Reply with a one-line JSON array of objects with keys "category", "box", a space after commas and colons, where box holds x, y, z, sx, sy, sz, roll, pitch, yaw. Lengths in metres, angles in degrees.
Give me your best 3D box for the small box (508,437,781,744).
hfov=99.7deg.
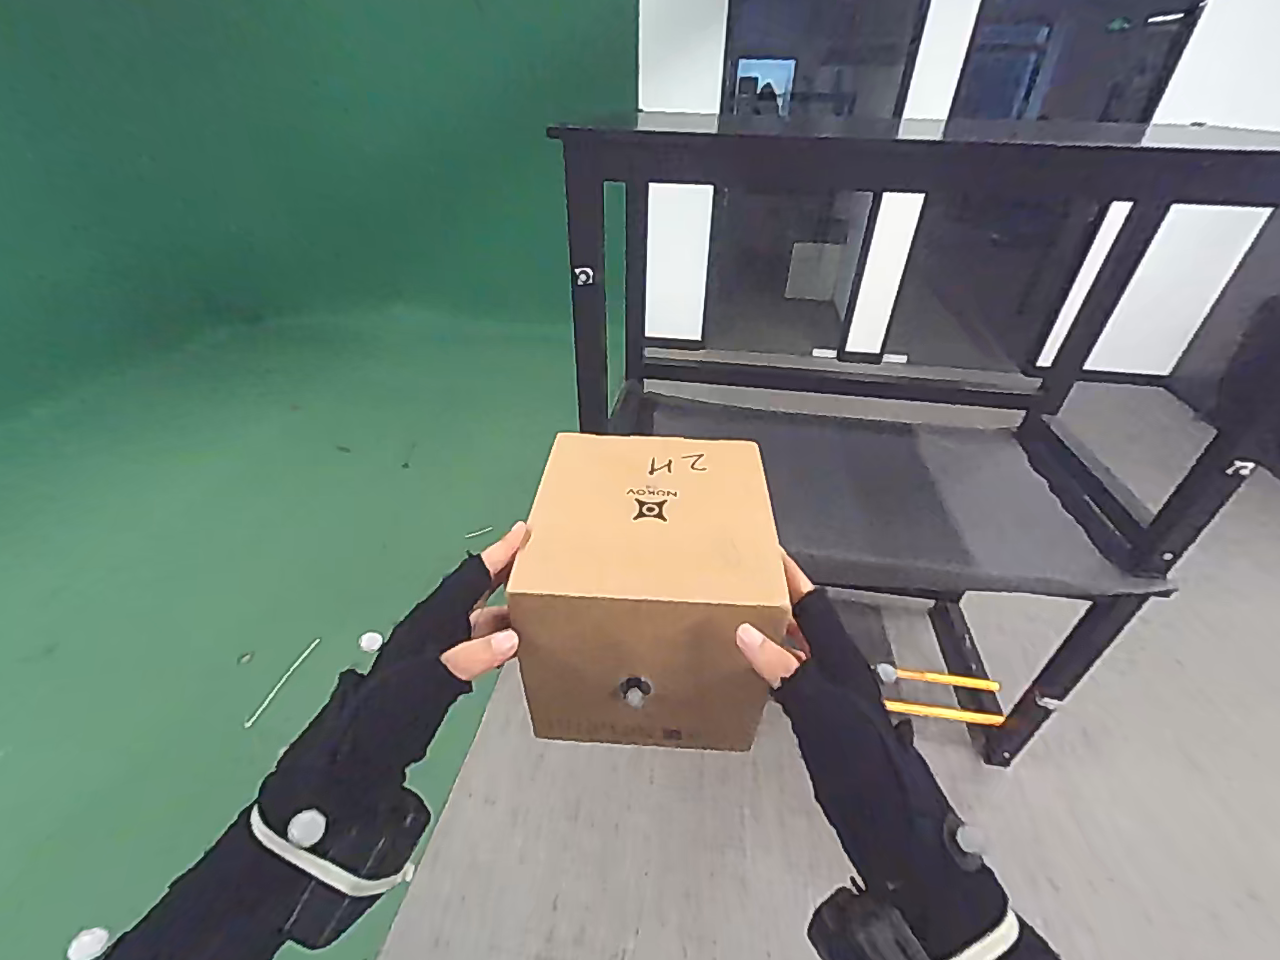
[{"category": "small box", "box": [0.008, 0.084, 0.429, 0.168, 0.176, 0.179, 3, 36, 3]}]
